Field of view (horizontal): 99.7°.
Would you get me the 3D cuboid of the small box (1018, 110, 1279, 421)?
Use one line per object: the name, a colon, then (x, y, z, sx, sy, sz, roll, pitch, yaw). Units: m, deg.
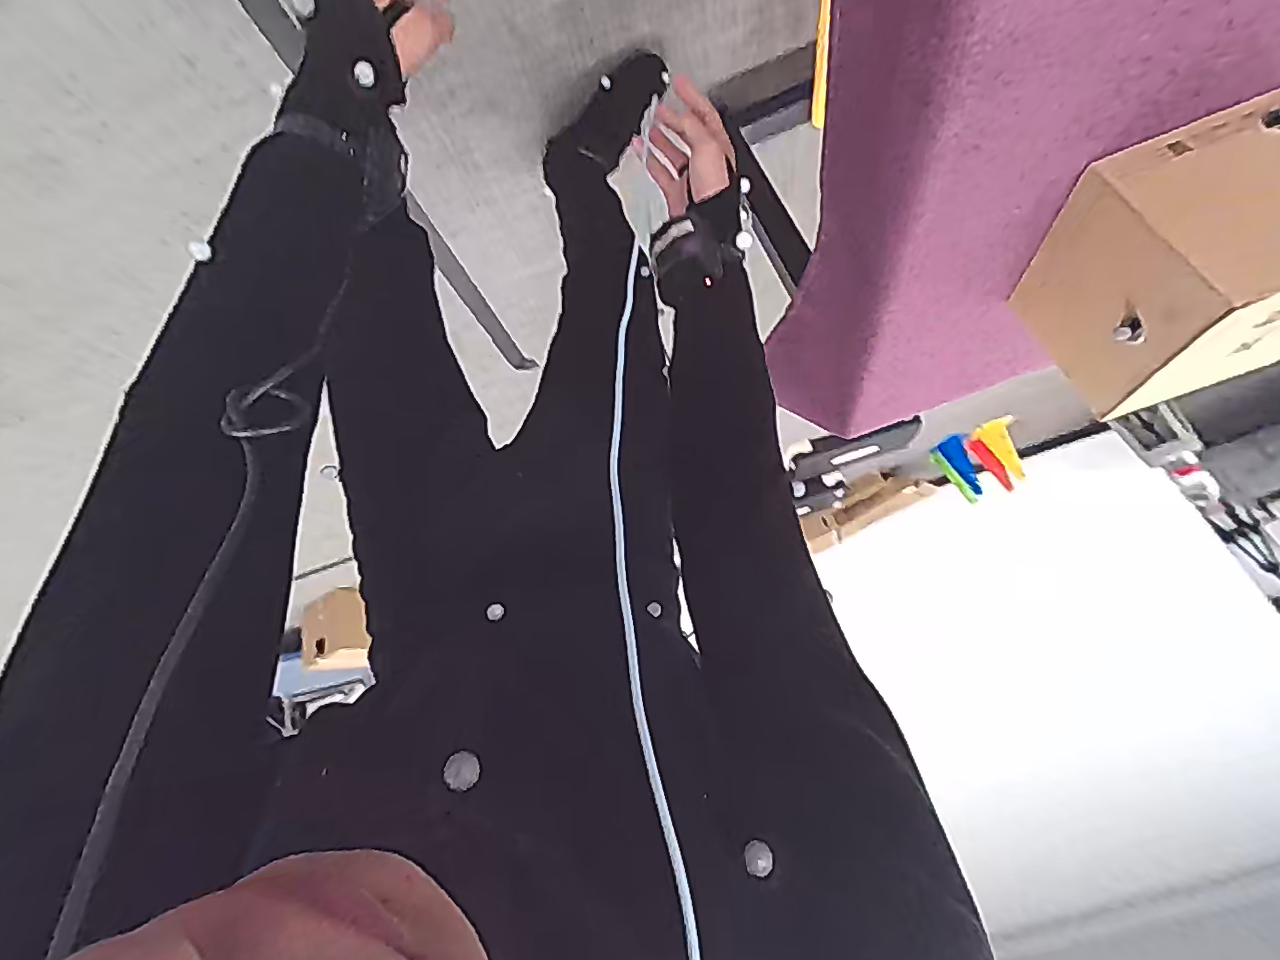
small box: (0.487, -0.187, 0.483, 0.168, 0.176, 0.179, -20, 155, 6)
